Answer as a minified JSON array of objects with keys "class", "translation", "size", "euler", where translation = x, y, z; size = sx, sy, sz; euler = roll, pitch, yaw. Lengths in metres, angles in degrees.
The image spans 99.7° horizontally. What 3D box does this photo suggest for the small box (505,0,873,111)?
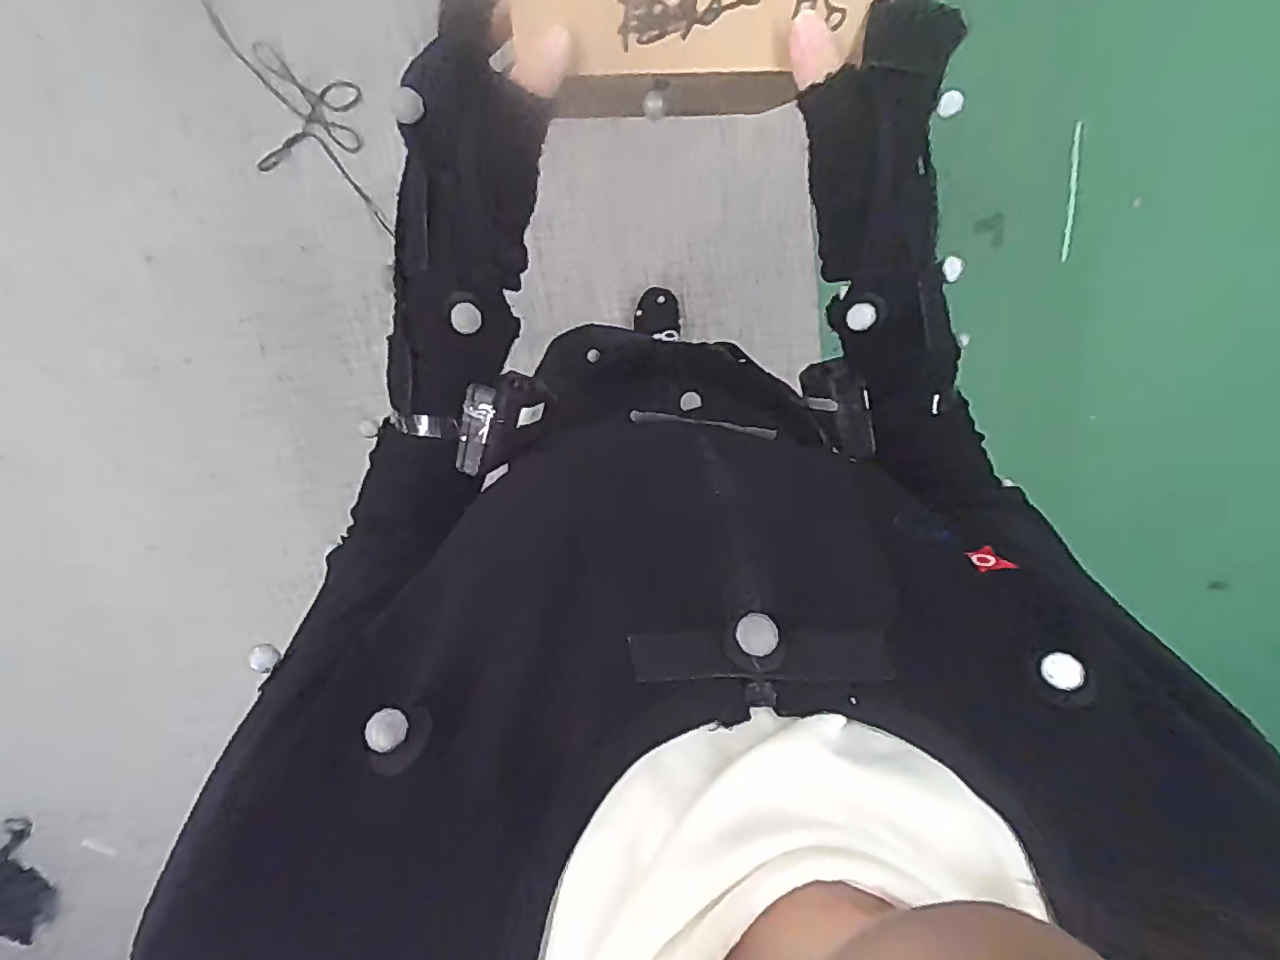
[{"class":"small box","translation":[0.014,-0.306,0.275],"size":[0.168,0.176,0.179],"euler":[-4,118,-4]}]
